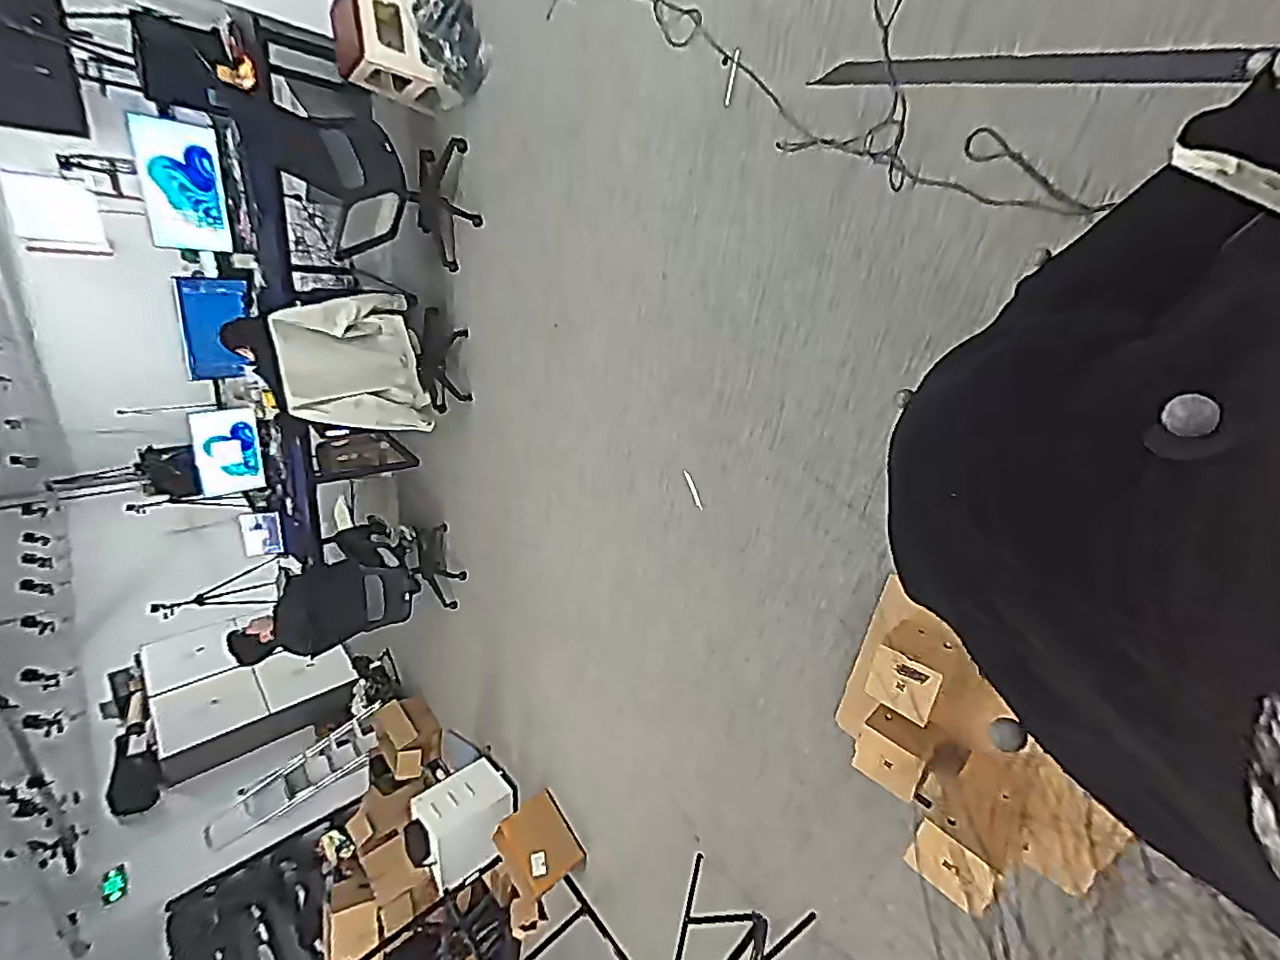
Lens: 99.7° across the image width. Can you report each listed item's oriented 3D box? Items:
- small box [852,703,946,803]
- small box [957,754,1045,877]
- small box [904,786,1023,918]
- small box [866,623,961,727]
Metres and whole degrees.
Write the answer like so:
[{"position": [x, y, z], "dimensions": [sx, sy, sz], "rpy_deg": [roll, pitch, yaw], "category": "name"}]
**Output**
[{"position": [0.746, 0.770, 1.557], "dimensions": [0.179, 0.176, 0.168], "rpy_deg": [24, 119, 40], "category": "small box"}, {"position": [0.913, 0.855, 1.399], "dimensions": [0.179, 0.176, 0.168], "rpy_deg": [24, 118, 39], "category": "small box"}, {"position": [0.779, 0.879, 1.303], "dimensions": [0.179, 0.176, 0.168], "rpy_deg": [29, 122, 38], "category": "small box"}, {"position": [0.749, 0.521, 1.476], "dimensions": [0.168, 0.176, 0.179], "rpy_deg": [25, 119, 40], "category": "small box"}]
